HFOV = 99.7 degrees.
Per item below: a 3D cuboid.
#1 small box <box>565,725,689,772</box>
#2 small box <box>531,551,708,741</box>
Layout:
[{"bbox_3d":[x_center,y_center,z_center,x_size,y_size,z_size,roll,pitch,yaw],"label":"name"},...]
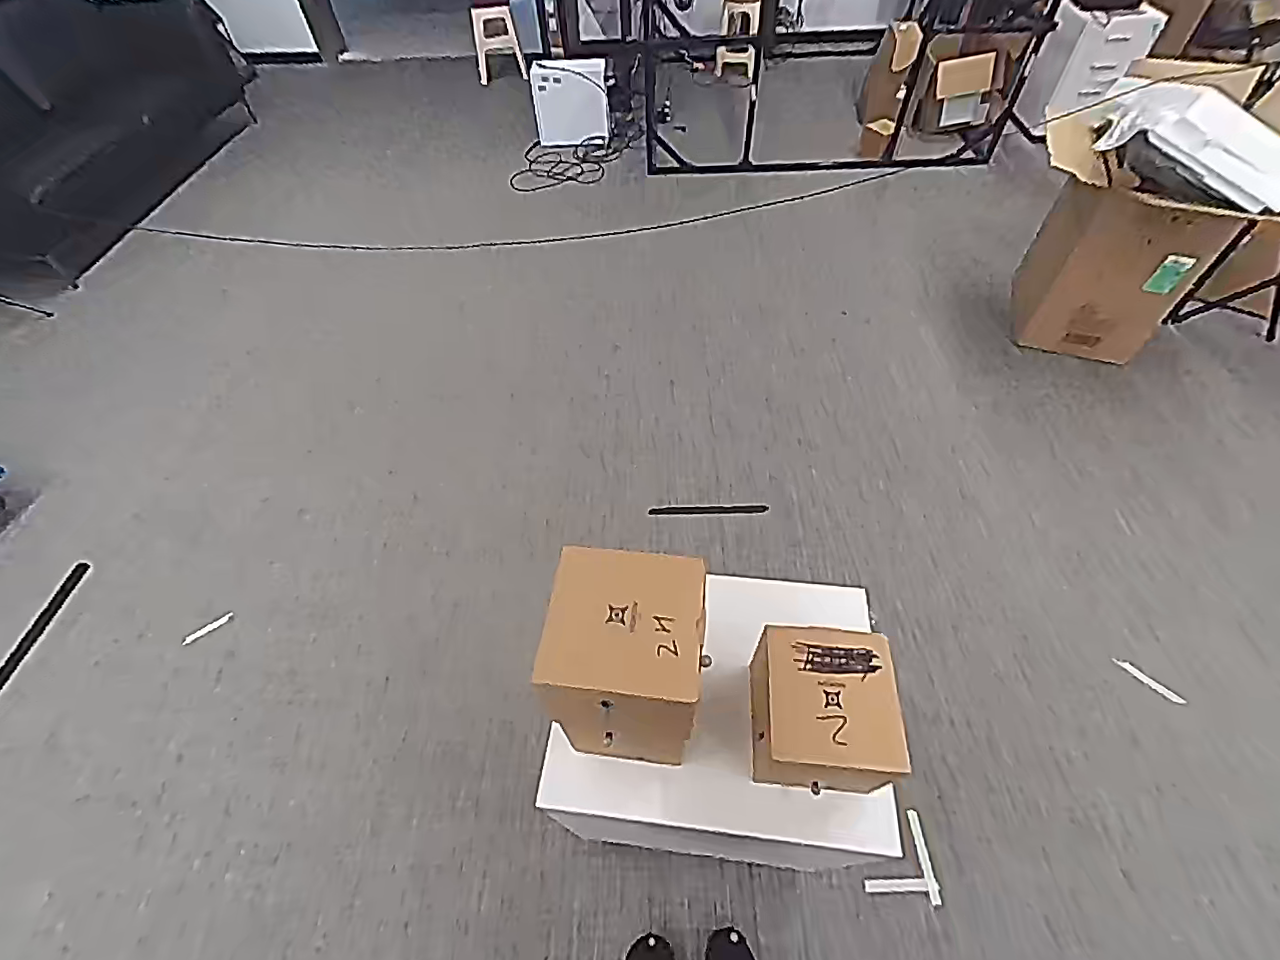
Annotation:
[{"bbox_3d":[-0.007,0.303,0.789,0.168,0.176,0.179,5,52,7],"label":"small box"},{"bbox_3d":[-0.014,0.205,0.656,0.179,0.176,0.168,5,53,6],"label":"small box"}]
